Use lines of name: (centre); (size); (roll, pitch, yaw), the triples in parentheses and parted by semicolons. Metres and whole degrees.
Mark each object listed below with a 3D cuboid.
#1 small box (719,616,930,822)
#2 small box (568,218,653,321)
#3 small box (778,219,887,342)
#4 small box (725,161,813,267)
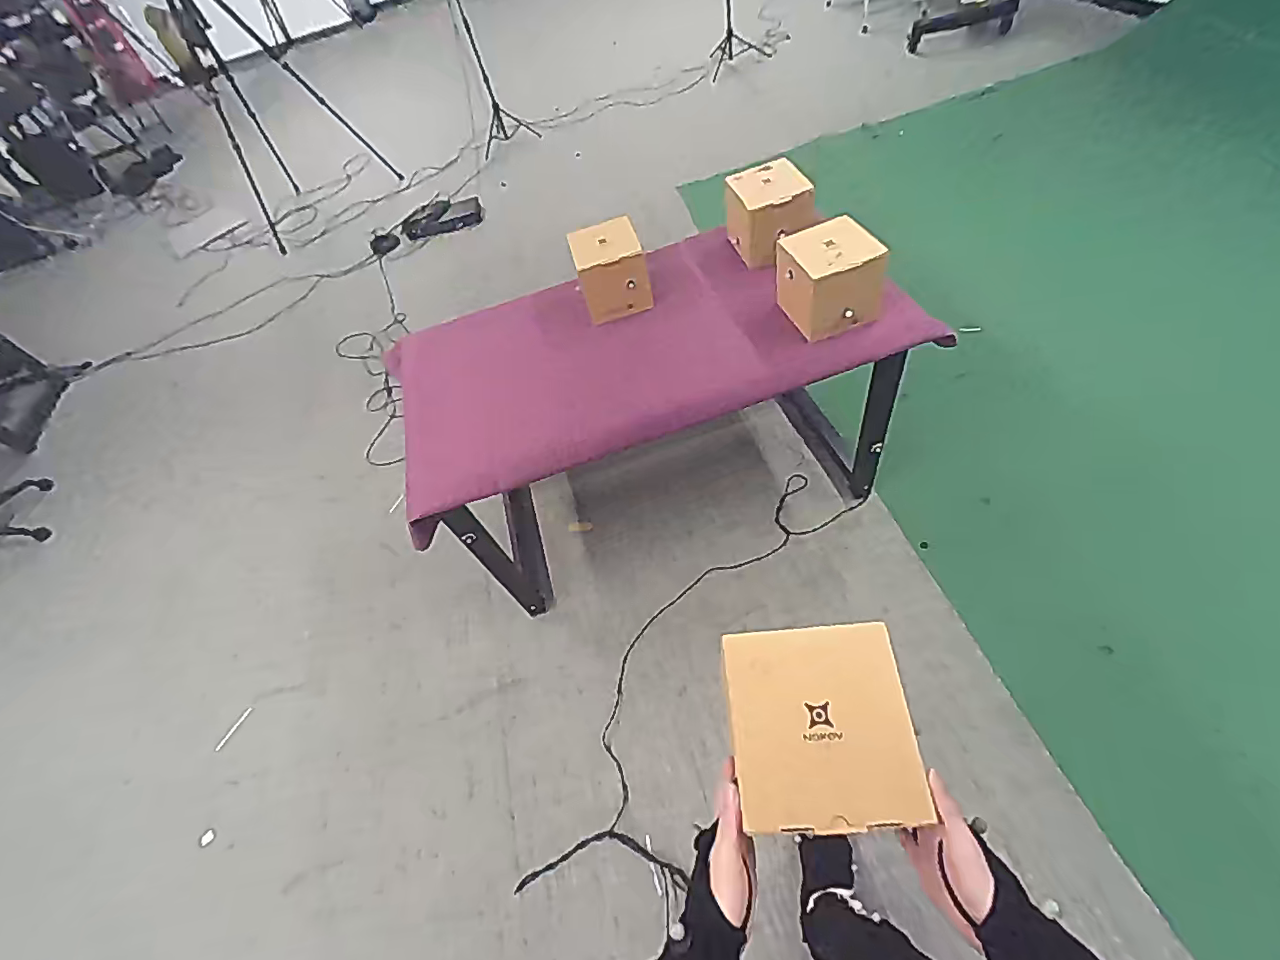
small box: (0.176, 0.258, 0.582); (0.168, 0.176, 0.179); (-6, 62, 5)
small box: (-0.073, -0.531, 1.387); (0.168, 0.176, 0.179); (-16, 53, 0)
small box: (0.417, -0.440, 1.201); (0.168, 0.176, 0.179); (-20, 52, 0)
small box: (0.329, -0.675, 1.392); (0.168, 0.176, 0.179); (-18, 56, 0)
